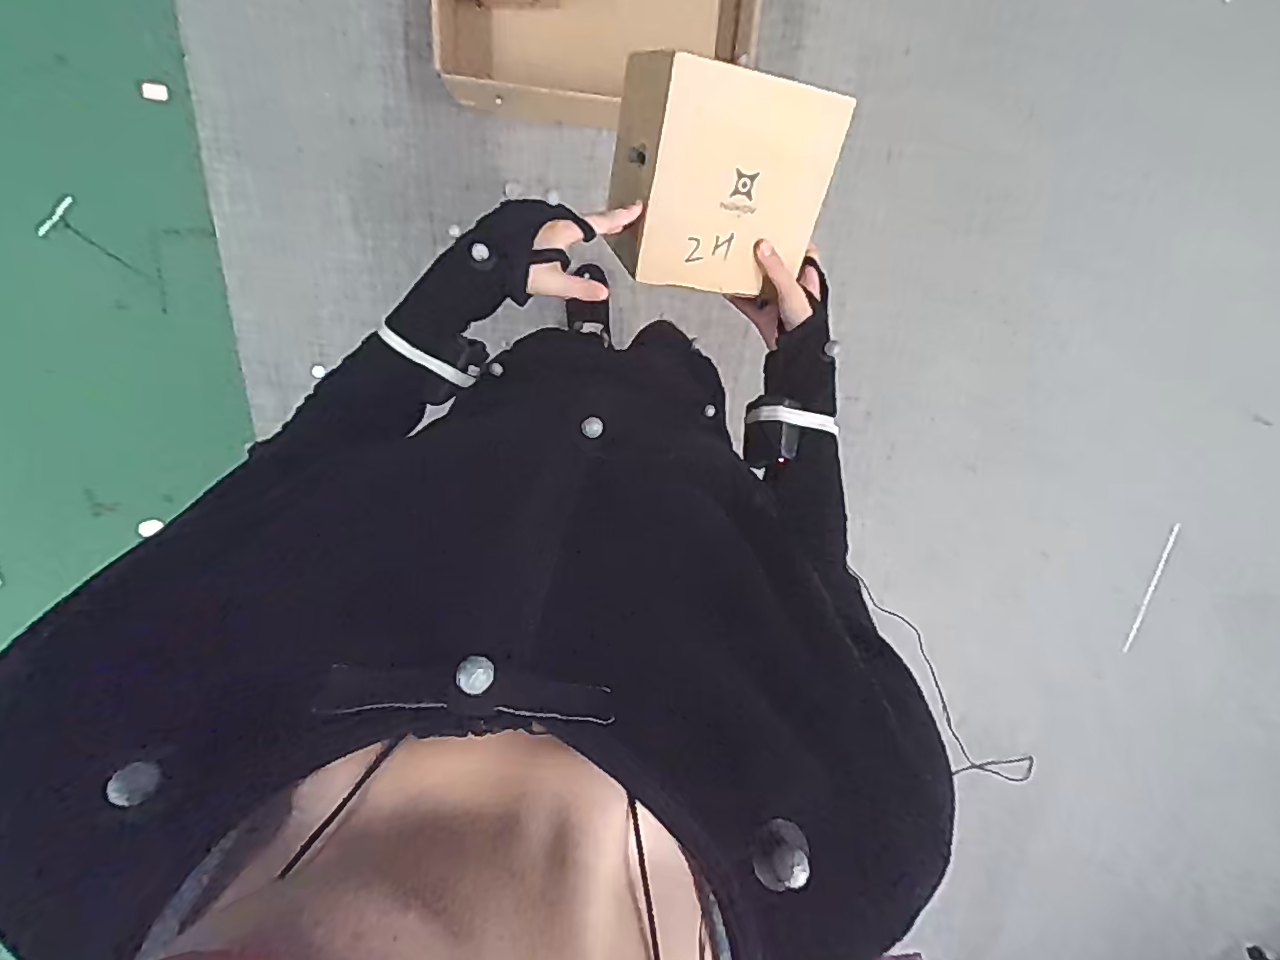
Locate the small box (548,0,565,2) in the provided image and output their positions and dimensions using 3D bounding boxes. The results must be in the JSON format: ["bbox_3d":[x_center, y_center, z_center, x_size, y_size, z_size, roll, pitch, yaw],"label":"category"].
[{"bbox_3d":[-0.219,-1.031,1.002,0.168,0.176,0.179,1,112,-4],"label":"small box"}]

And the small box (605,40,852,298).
[{"bbox_3d":[0.067,-0.302,0.534,0.168,0.176,0.179,2,126,-17],"label":"small box"}]
